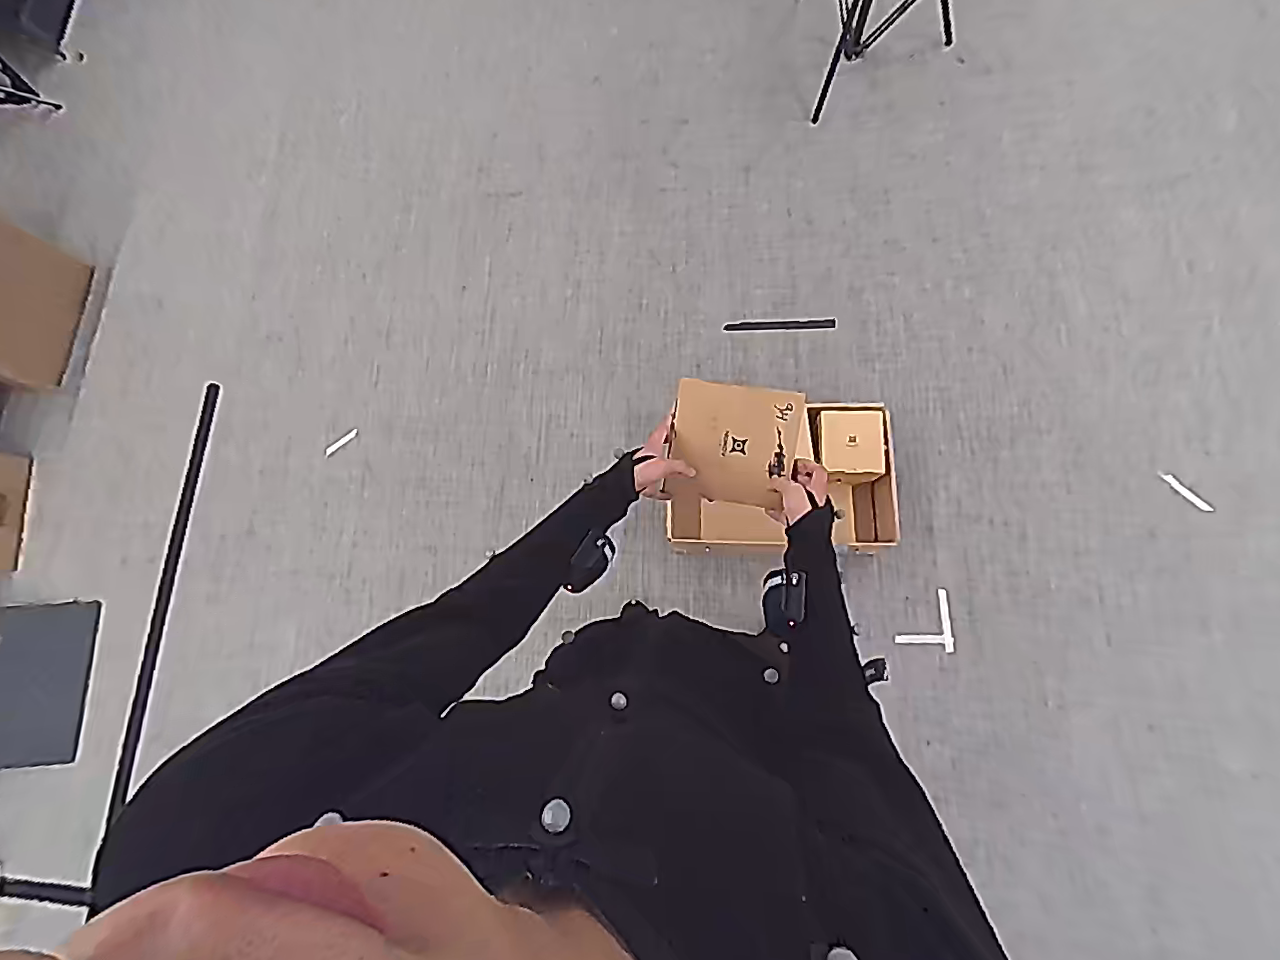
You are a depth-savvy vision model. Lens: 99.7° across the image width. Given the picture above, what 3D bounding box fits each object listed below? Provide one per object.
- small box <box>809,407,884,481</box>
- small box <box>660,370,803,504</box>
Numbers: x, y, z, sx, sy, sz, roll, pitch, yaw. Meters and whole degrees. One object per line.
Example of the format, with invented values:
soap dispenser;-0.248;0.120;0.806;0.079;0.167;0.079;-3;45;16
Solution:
small box;0.583;-0.100;1.543;0.168;0.176;0.179;1;80;7
small box;0.135;-0.067;0.828;0.179;0.176;0.168;9;98;6
